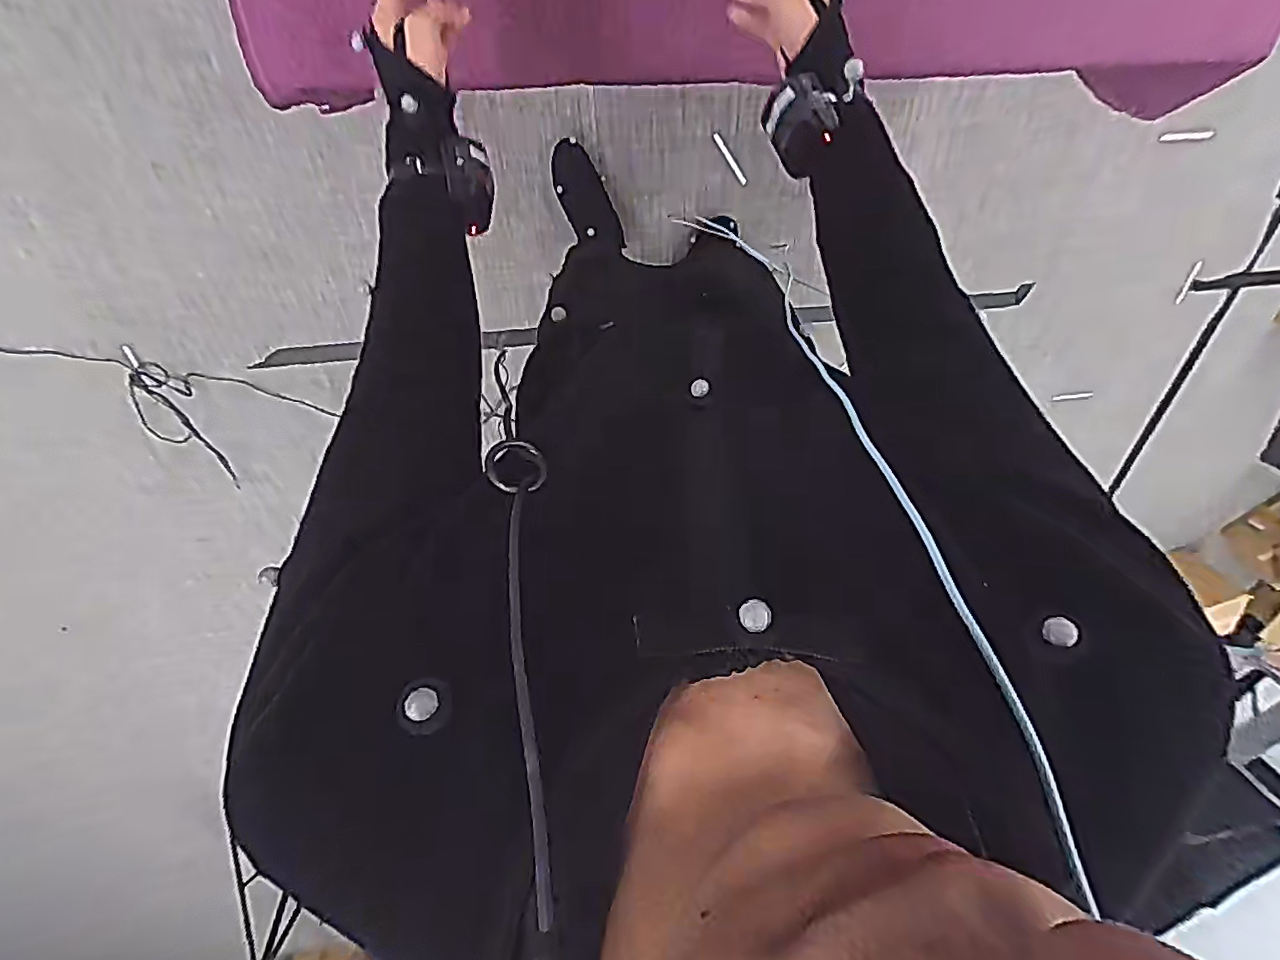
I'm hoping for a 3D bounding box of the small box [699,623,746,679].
[{"bbox_3d":[0.366,0.760,2.426,0.168,0.176,0.179,-6,128,-7],"label":"small box"}]
